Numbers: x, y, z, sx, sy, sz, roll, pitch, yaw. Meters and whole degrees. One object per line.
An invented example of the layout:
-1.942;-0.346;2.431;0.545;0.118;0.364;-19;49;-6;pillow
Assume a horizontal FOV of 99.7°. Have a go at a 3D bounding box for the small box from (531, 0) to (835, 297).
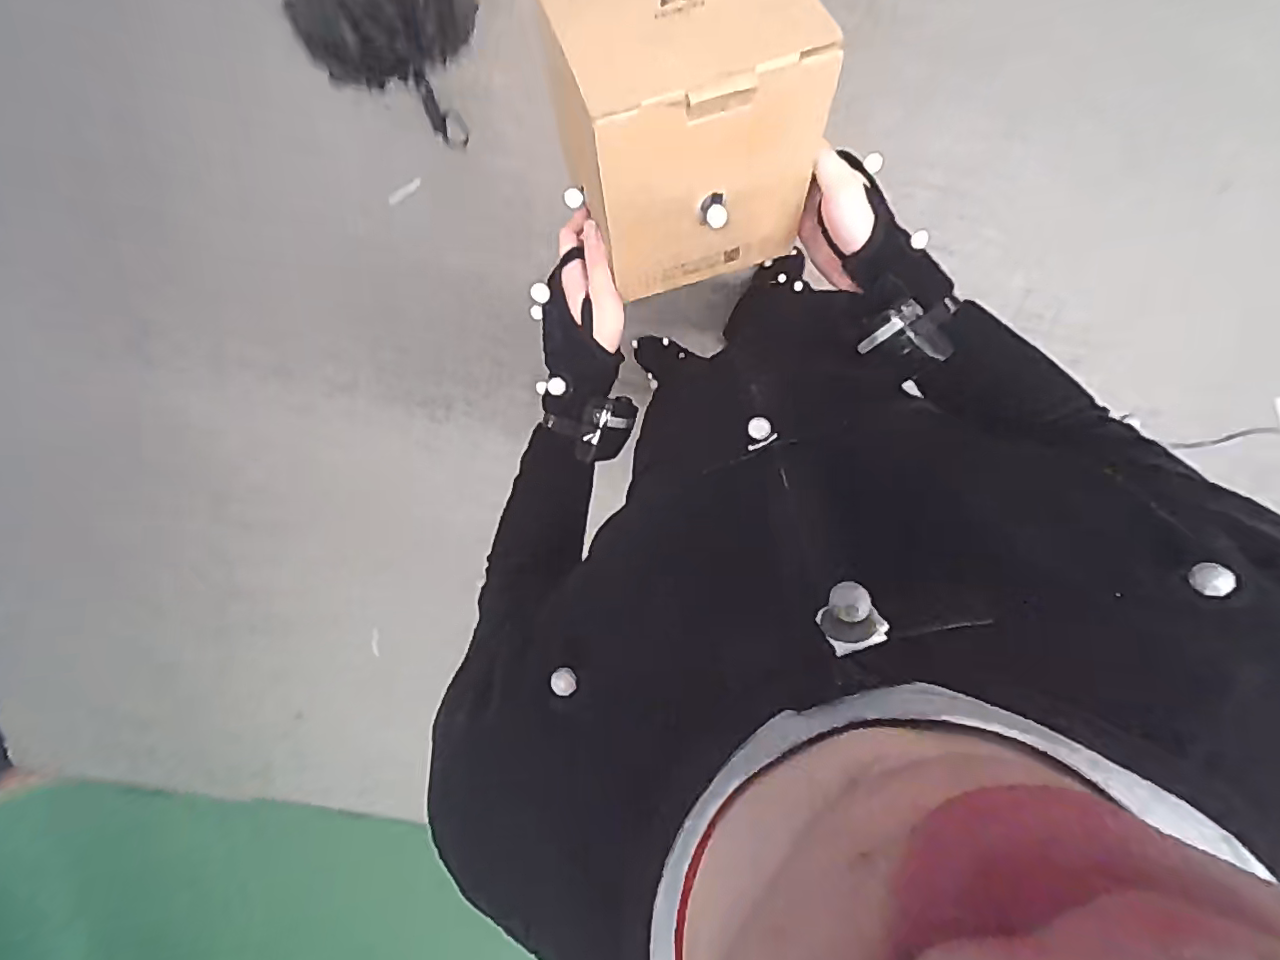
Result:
0.025;-0.271;0.432;0.168;0.176;0.179;-16;69;-4;small box
